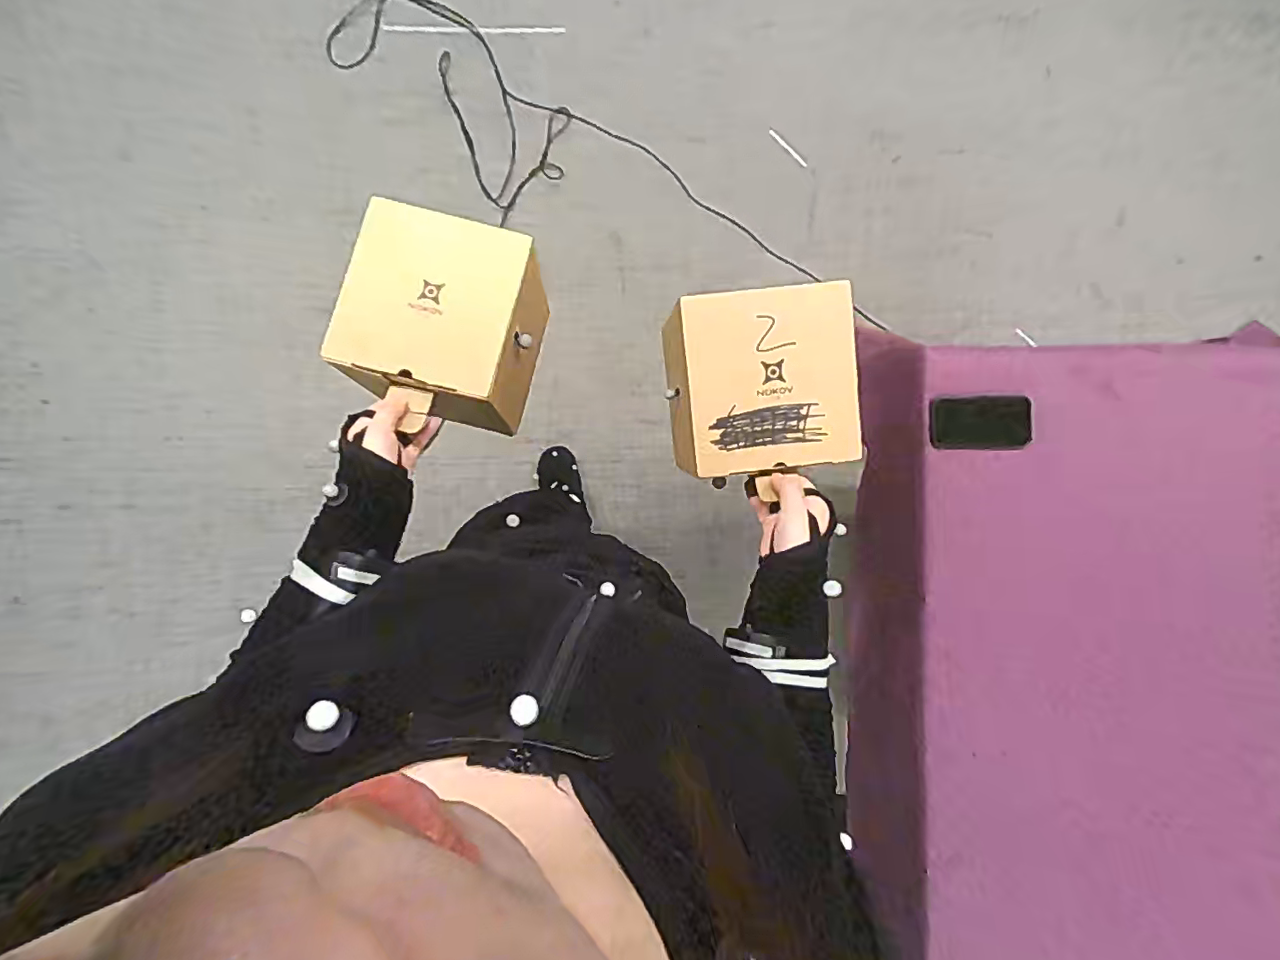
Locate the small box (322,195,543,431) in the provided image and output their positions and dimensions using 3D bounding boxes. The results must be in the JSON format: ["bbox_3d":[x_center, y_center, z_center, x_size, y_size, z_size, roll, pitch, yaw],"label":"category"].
[{"bbox_3d":[-0.210,-0.170,0.606,0.168,0.176,0.179,14,83,-3],"label":"small box"}]
